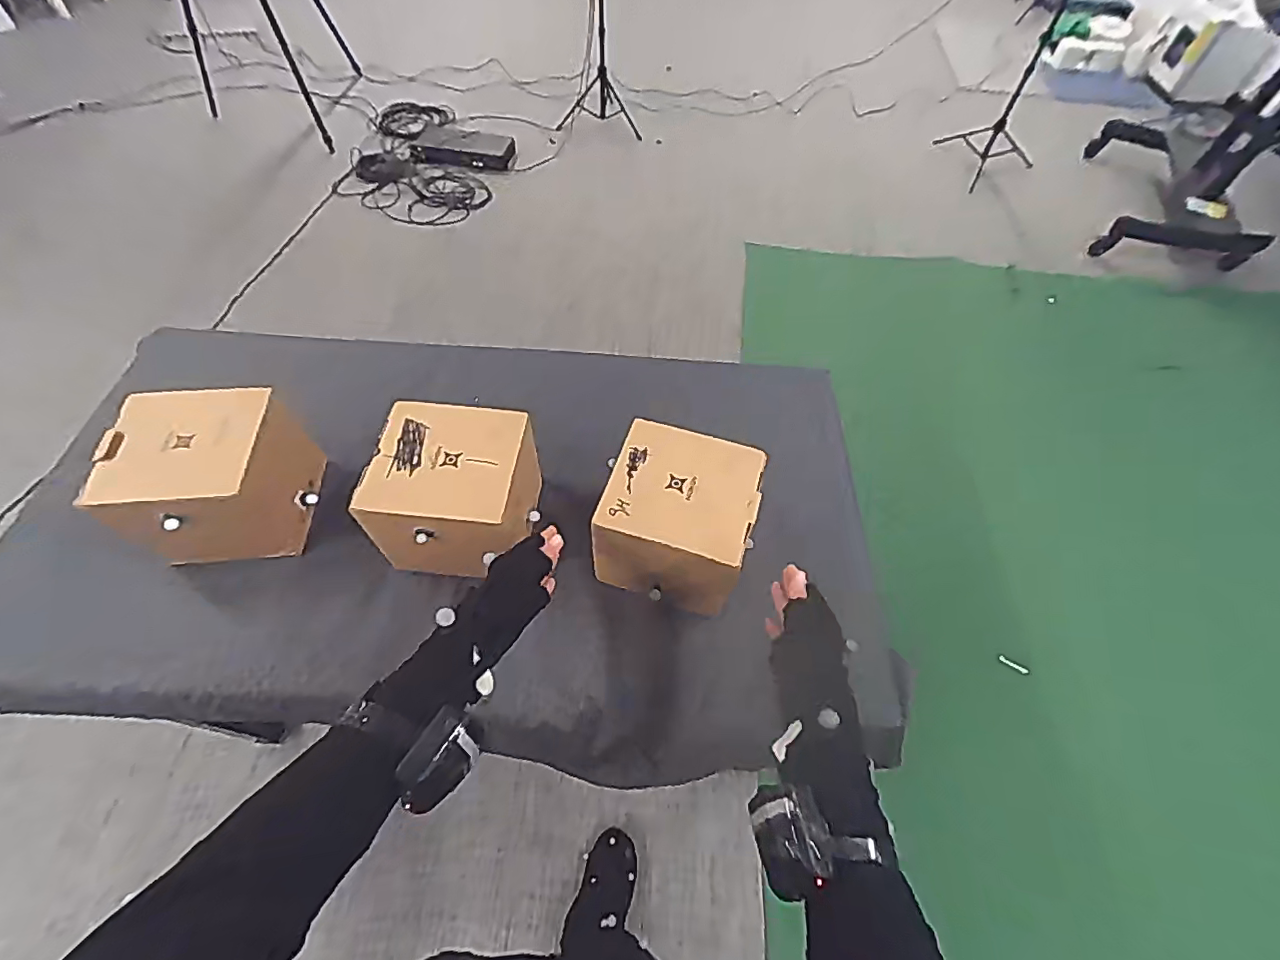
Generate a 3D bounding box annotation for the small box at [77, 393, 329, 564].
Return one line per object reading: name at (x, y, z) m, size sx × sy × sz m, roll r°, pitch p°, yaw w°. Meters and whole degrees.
small box at (-0.555, 0.004, 0.719) m, size 0.179 × 0.176 × 0.168 m, roll -3°, pitch 58°, yaw -6°

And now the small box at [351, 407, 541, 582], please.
small box at (-0.239, 0.025, 0.720) m, size 0.179 × 0.176 × 0.168 m, roll 6°, pitch 57°, yaw 0°

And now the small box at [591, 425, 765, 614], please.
small box at (0.047, 0.060, 0.712) m, size 0.179 × 0.176 × 0.168 m, roll 17°, pitch 58°, yaw 8°
